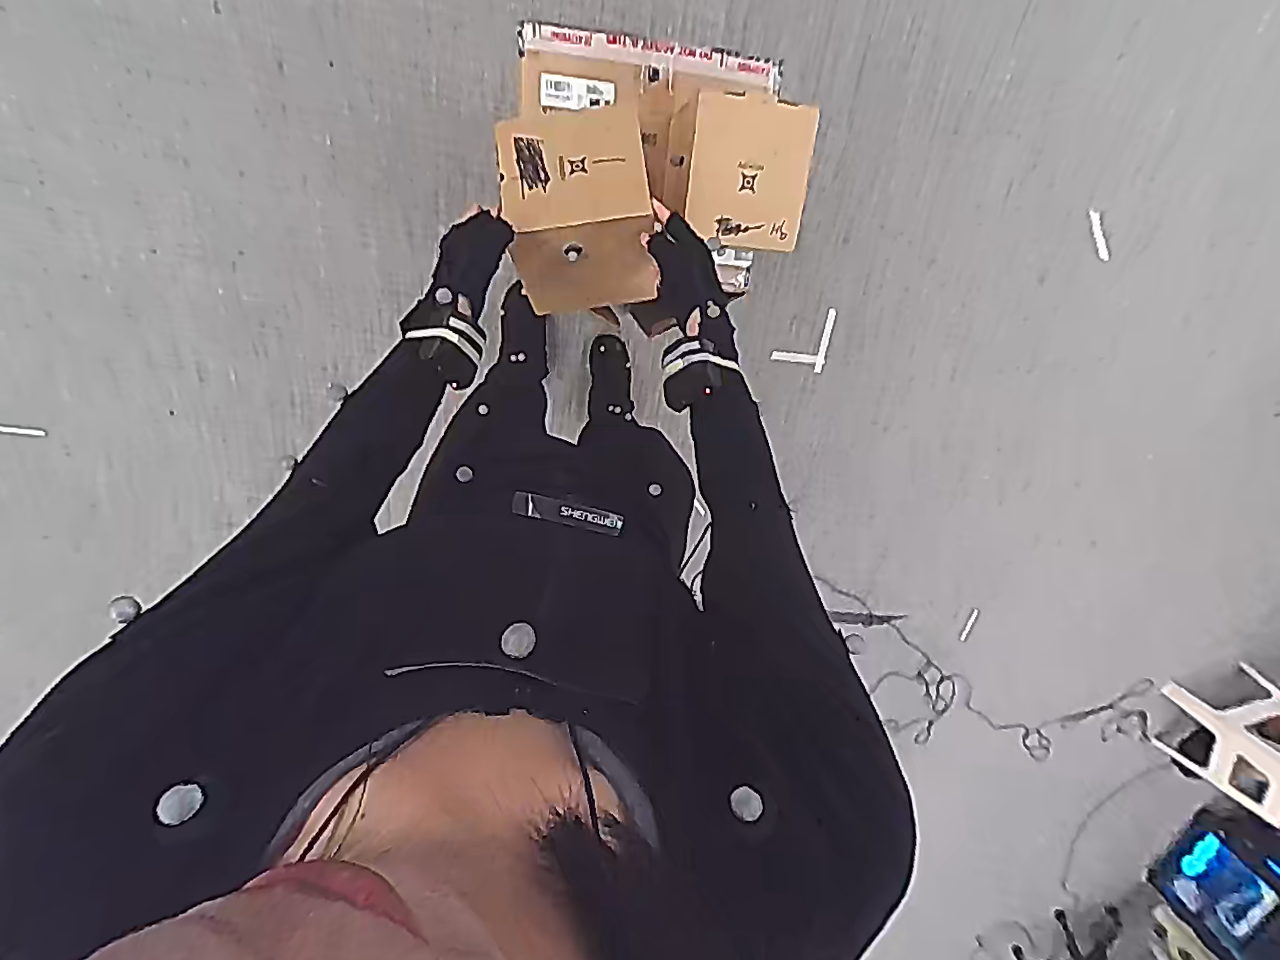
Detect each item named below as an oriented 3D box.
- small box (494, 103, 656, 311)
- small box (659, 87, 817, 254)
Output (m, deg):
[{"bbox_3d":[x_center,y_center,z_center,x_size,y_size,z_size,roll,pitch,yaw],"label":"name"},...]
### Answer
[{"bbox_3d":[-0.077,-0.340,0.702,0.179,0.176,0.168,-7,74,1],"label":"small box"},{"bbox_3d":[0.128,-0.430,0.782,0.168,0.176,0.179,2,112,-11],"label":"small box"}]
